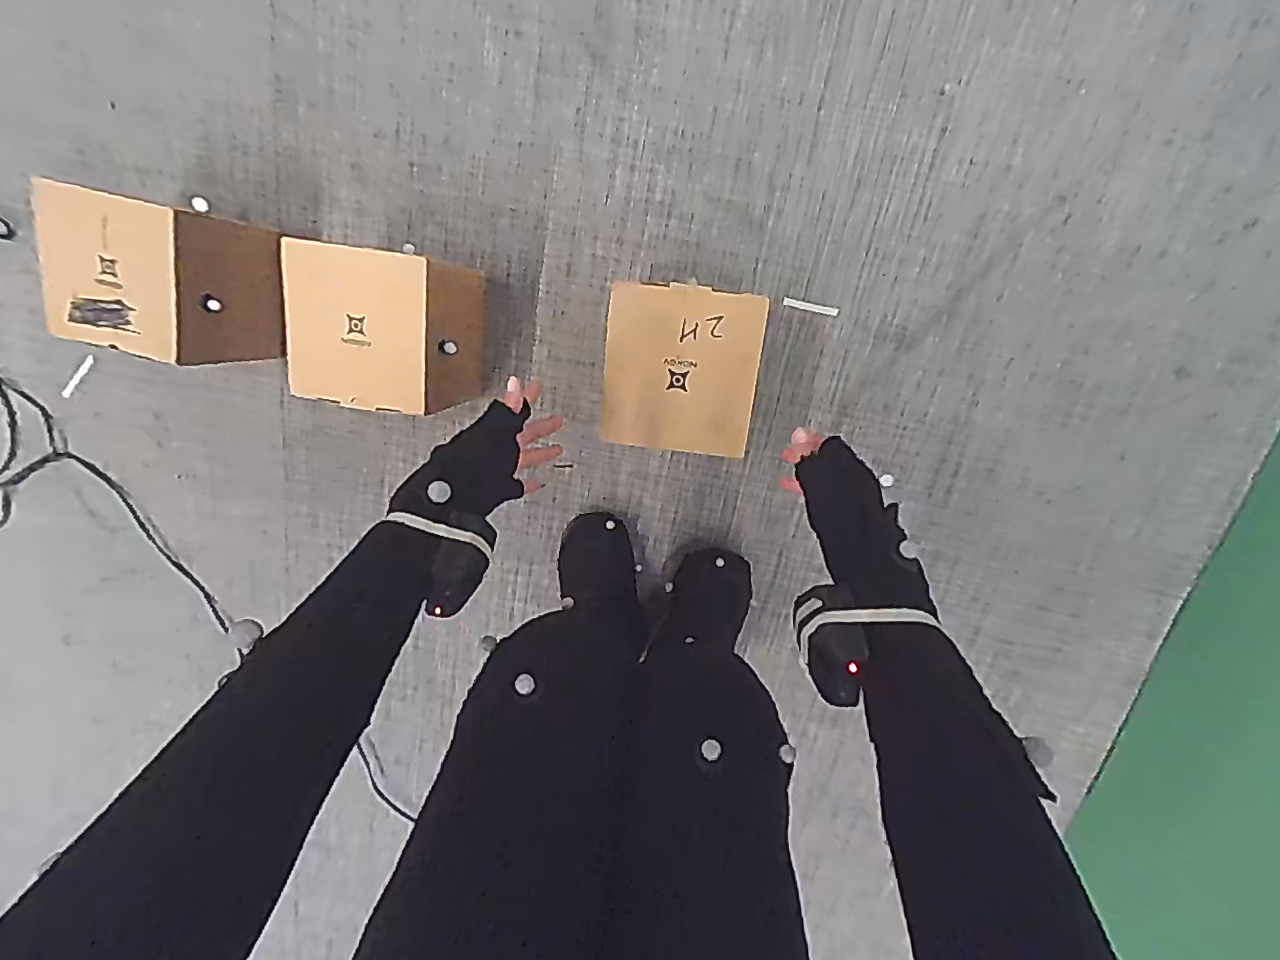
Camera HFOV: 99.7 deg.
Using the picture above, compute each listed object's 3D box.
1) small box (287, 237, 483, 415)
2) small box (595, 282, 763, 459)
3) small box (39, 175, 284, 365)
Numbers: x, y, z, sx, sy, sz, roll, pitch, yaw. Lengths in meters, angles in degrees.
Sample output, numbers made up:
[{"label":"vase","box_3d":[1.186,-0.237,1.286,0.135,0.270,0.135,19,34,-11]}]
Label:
[{"label":"small box","box_3d":[-0.310,-0.193,0.686,0.168,0.176,0.179,9,108,3]},{"label":"small box","box_3d":[0.046,-0.140,0.665,0.168,0.176,0.179,7,107,3]},{"label":"small box","box_3d":[-0.593,-0.258,0.693,0.168,0.176,0.179,14,107,1]}]
